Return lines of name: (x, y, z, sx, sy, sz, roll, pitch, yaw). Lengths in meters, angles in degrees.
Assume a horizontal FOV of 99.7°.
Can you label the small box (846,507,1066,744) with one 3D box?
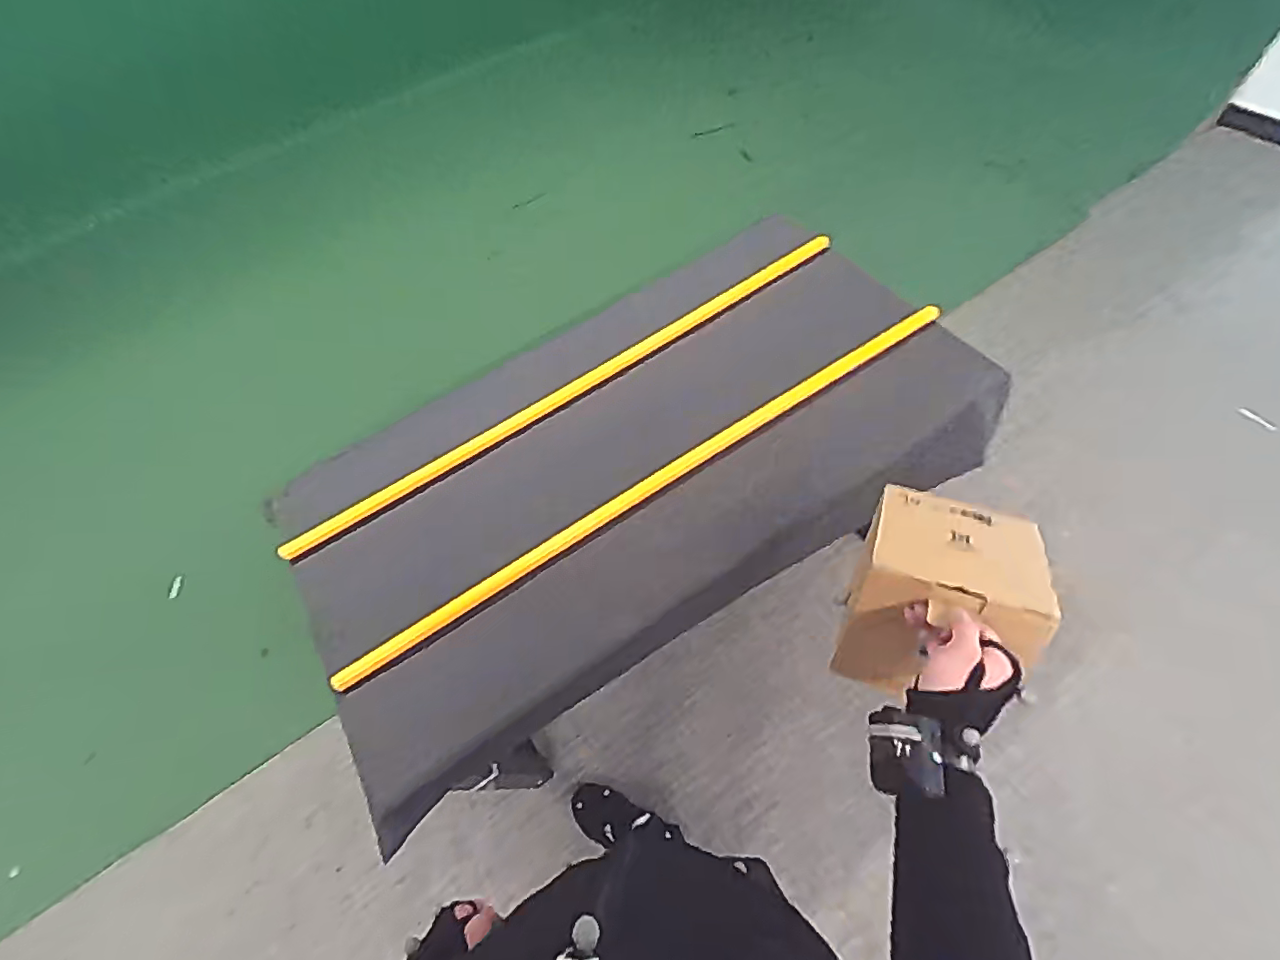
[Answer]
small box: (0.345, 0.160, 0.621, 0.168, 0.176, 0.179, 15, 31, 20)
